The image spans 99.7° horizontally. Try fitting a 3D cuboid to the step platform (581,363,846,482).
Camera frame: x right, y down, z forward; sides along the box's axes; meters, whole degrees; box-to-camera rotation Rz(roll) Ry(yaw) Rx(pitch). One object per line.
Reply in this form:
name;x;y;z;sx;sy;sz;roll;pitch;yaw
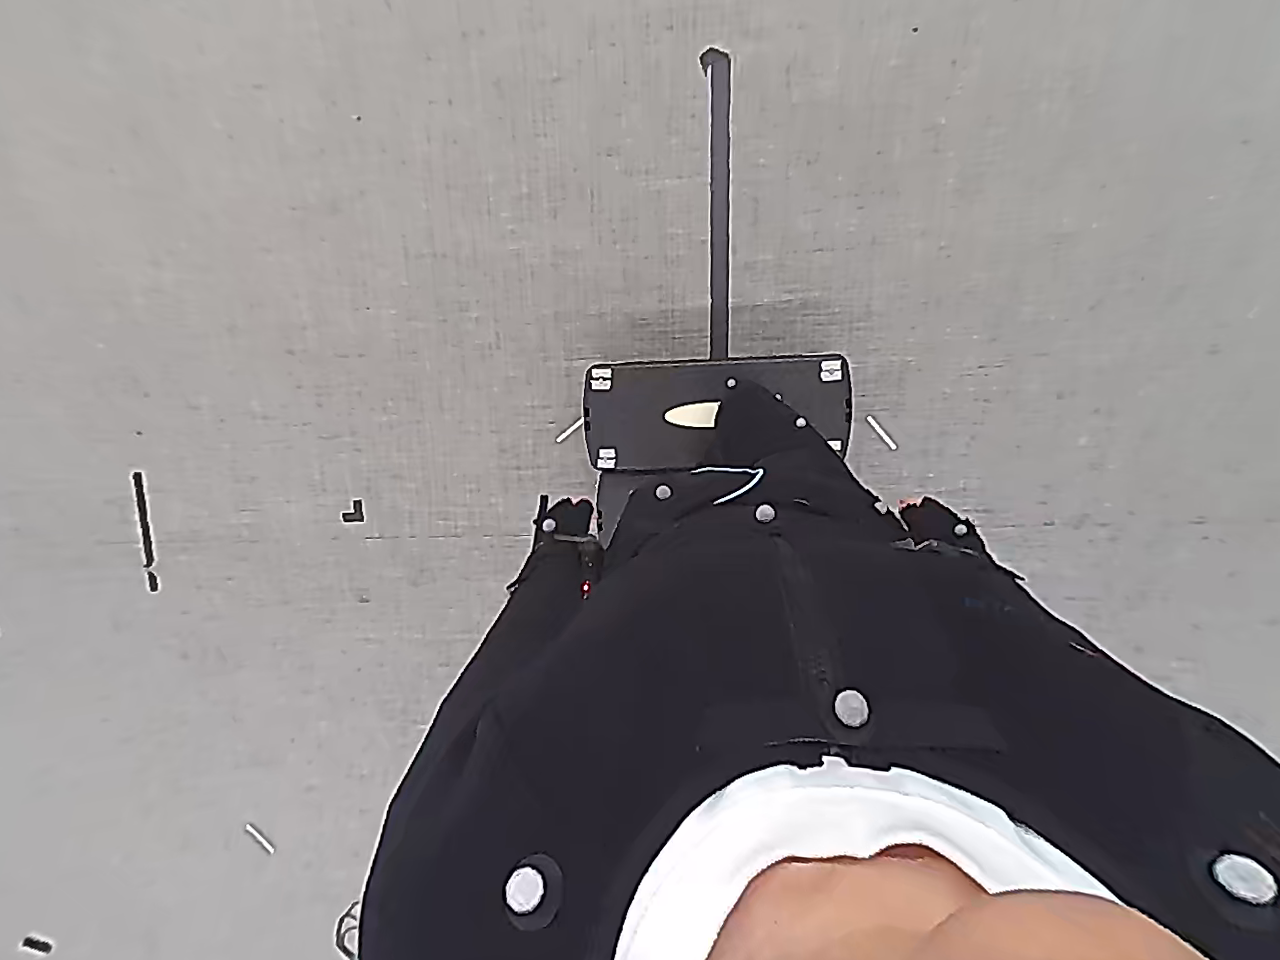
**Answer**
step platform;0.185;-0.152;1.444;0.684;0.204;0.286;-2;100;5
